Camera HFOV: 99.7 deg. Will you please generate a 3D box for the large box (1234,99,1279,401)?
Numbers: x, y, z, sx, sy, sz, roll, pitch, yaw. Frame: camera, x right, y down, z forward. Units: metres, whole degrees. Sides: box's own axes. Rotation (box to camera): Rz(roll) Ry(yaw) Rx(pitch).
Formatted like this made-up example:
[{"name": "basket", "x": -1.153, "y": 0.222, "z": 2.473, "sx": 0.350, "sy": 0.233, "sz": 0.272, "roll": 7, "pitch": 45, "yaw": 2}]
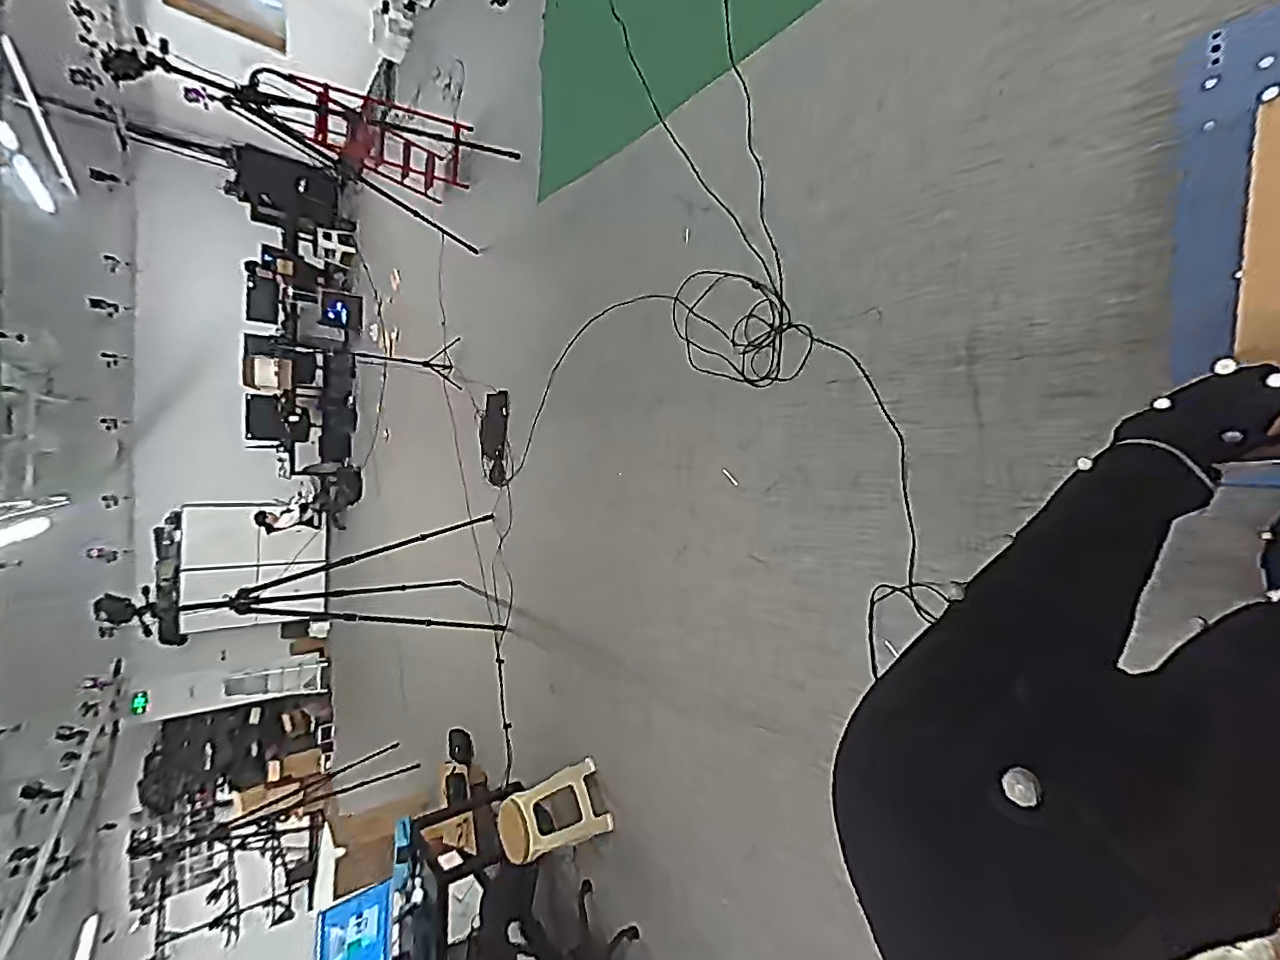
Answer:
[{"name": "large box", "x": 1.105, "y": -0.338, "z": 0.770, "sx": 0.320, "sy": 0.320, "sz": 0.408, "roll": 5, "pitch": 93, "yaw": 51}]
